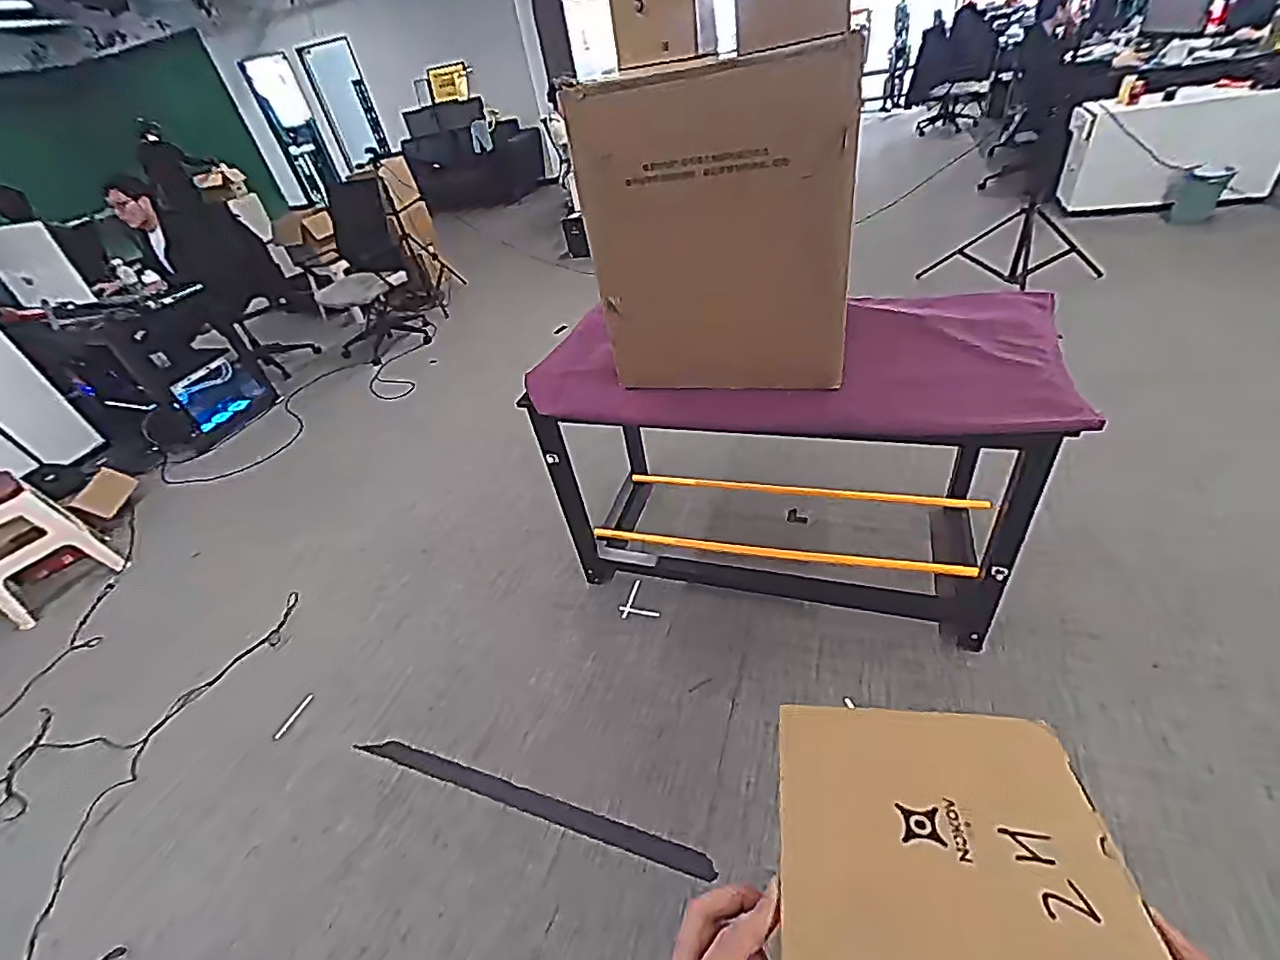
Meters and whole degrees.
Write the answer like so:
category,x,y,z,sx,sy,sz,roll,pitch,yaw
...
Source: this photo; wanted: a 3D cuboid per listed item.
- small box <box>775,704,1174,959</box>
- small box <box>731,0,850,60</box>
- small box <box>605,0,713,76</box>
category,x,y,z,sx,sy,sz,roll,pitch,yaw
small box,0.182,0.270,0.342,0.179,0.176,0.168,-3,26,16
small box,0.239,-0.791,0.858,0.179,0.176,0.168,1,41,18
small box,0.043,-0.913,1.061,0.168,0.176,0.179,7,42,21
